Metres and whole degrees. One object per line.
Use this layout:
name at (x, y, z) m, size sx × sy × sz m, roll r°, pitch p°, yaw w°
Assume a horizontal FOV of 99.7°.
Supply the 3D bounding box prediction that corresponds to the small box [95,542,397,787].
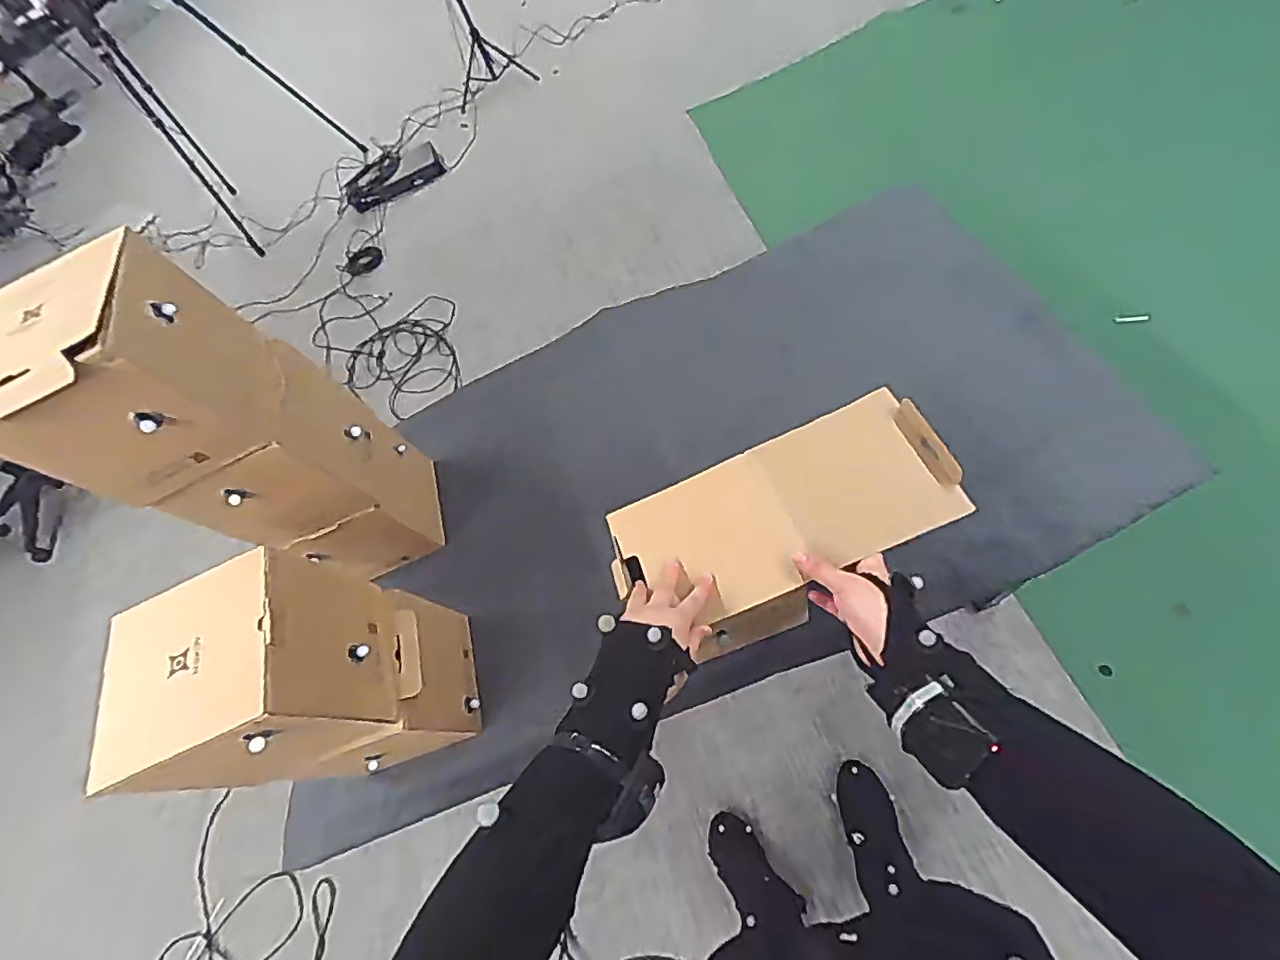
small box at (-0.385, 0.194, 0.556) m, size 0.179 × 0.176 × 0.168 m, roll -25°, pitch 61°, yaw 3°

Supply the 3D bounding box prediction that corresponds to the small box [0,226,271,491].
small box at (-0.511, -0.108, 0.550) m, size 0.168 × 0.176 × 0.179 m, roll -25°, pitch 60°, yaw 2°

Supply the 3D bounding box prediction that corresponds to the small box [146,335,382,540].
small box at (-0.463, -0.043, 0.691) m, size 0.179 × 0.176 × 0.168 m, roll -22°, pitch 62°, yaw 5°

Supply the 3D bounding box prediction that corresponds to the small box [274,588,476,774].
small box at (-0.328, 0.259, 0.695) m, size 0.179 × 0.176 × 0.168 m, roll -22°, pitch 61°, yaw 6°
